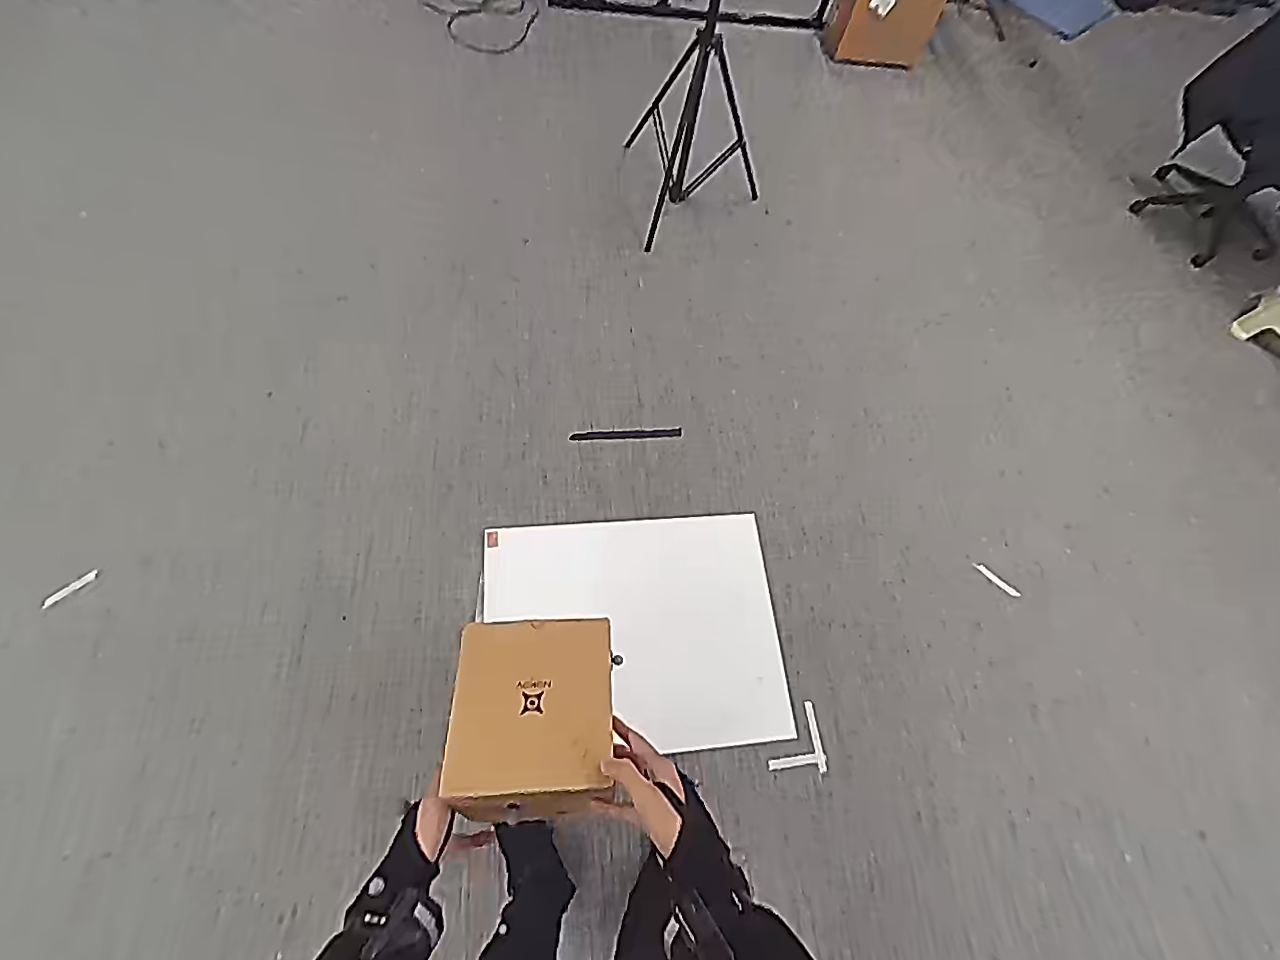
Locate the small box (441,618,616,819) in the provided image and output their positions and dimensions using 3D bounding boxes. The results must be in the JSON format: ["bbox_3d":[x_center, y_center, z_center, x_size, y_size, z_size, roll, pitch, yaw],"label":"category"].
[{"bbox_3d":[-0.113,0.279,0.623,0.168,0.176,0.179,-2,49,-4],"label":"small box"}]
